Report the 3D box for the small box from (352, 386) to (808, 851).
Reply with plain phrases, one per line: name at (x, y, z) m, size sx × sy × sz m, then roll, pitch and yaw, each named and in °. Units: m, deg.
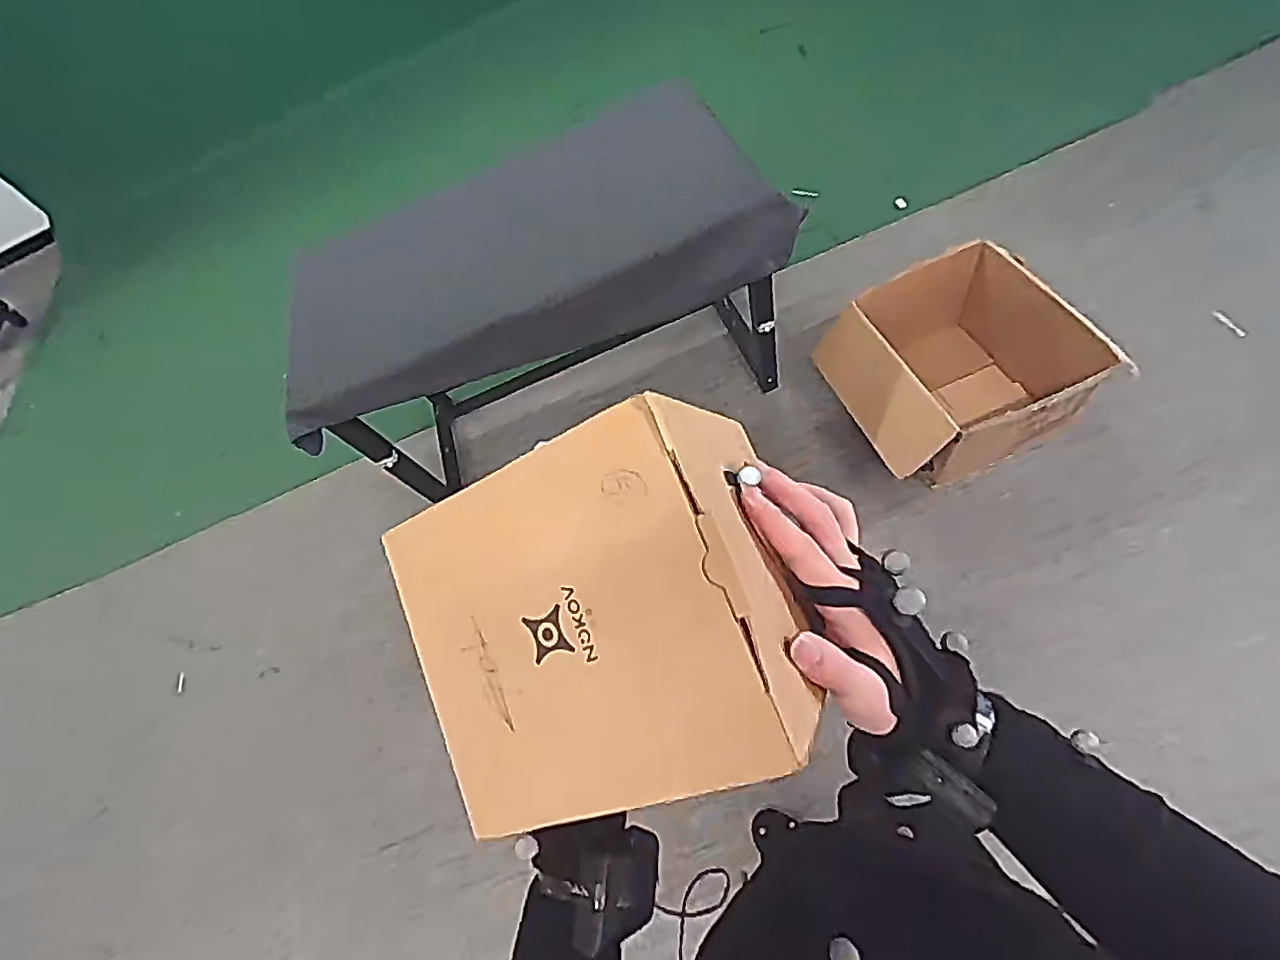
small box at (-0.017, 0.067, 0.311) m, size 0.179 × 0.176 × 0.168 m, roll -27°, pitch 79°, yaw 22°
